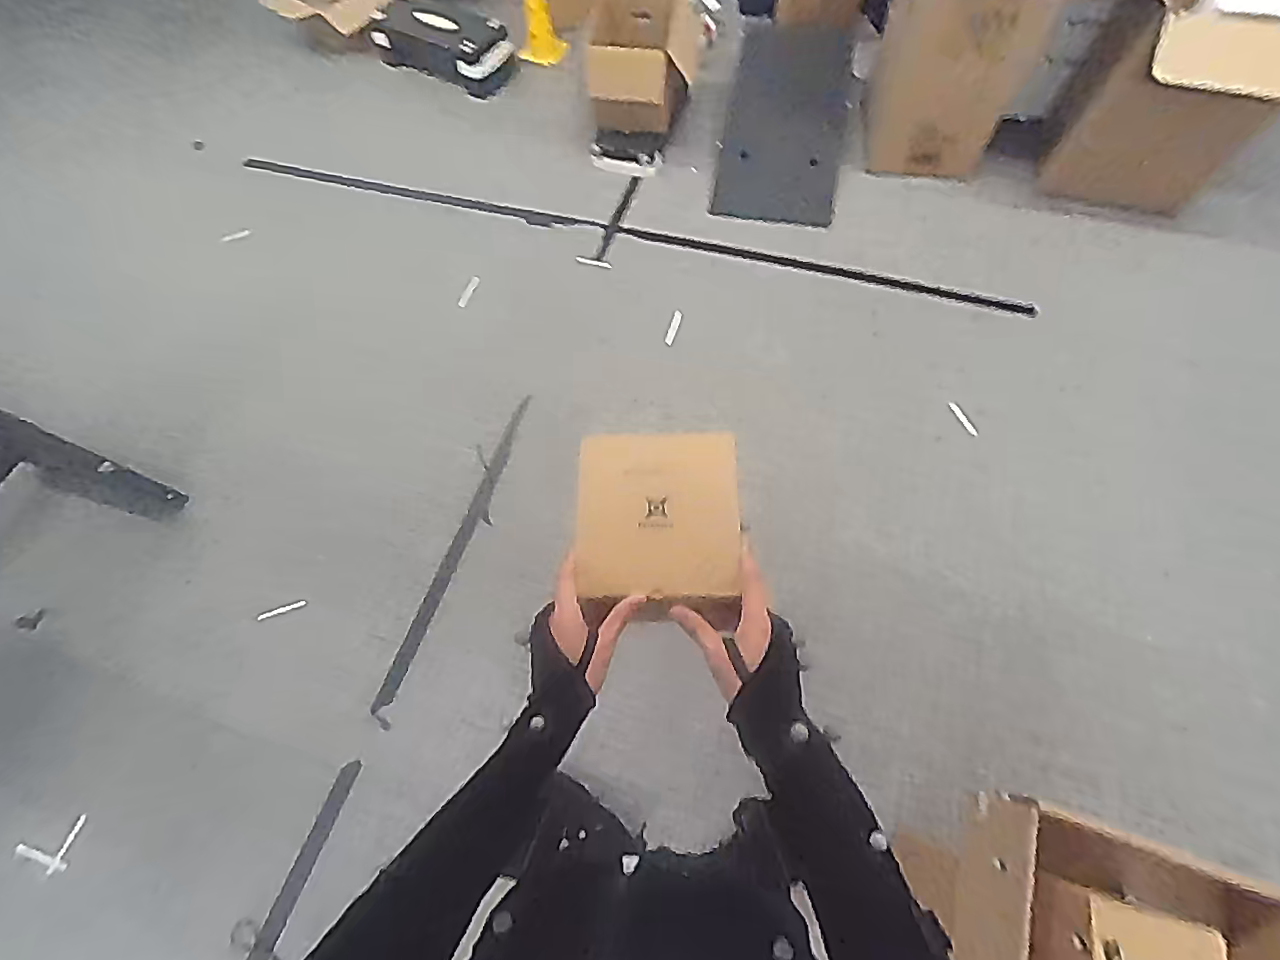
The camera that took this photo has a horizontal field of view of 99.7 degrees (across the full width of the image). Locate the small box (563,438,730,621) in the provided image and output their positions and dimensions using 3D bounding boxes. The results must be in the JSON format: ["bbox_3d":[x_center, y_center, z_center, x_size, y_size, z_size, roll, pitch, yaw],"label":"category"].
[{"bbox_3d":[0.013,0.066,0.620,0.168,0.176,0.179,-1,69,4],"label":"small box"}]

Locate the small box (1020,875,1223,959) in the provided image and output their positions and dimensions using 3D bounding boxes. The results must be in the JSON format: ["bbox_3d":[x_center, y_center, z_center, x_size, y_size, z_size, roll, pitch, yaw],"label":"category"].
[{"bbox_3d":[0.715,0.729,0.815,0.179,0.176,0.168,13,67,7],"label":"small box"}]
